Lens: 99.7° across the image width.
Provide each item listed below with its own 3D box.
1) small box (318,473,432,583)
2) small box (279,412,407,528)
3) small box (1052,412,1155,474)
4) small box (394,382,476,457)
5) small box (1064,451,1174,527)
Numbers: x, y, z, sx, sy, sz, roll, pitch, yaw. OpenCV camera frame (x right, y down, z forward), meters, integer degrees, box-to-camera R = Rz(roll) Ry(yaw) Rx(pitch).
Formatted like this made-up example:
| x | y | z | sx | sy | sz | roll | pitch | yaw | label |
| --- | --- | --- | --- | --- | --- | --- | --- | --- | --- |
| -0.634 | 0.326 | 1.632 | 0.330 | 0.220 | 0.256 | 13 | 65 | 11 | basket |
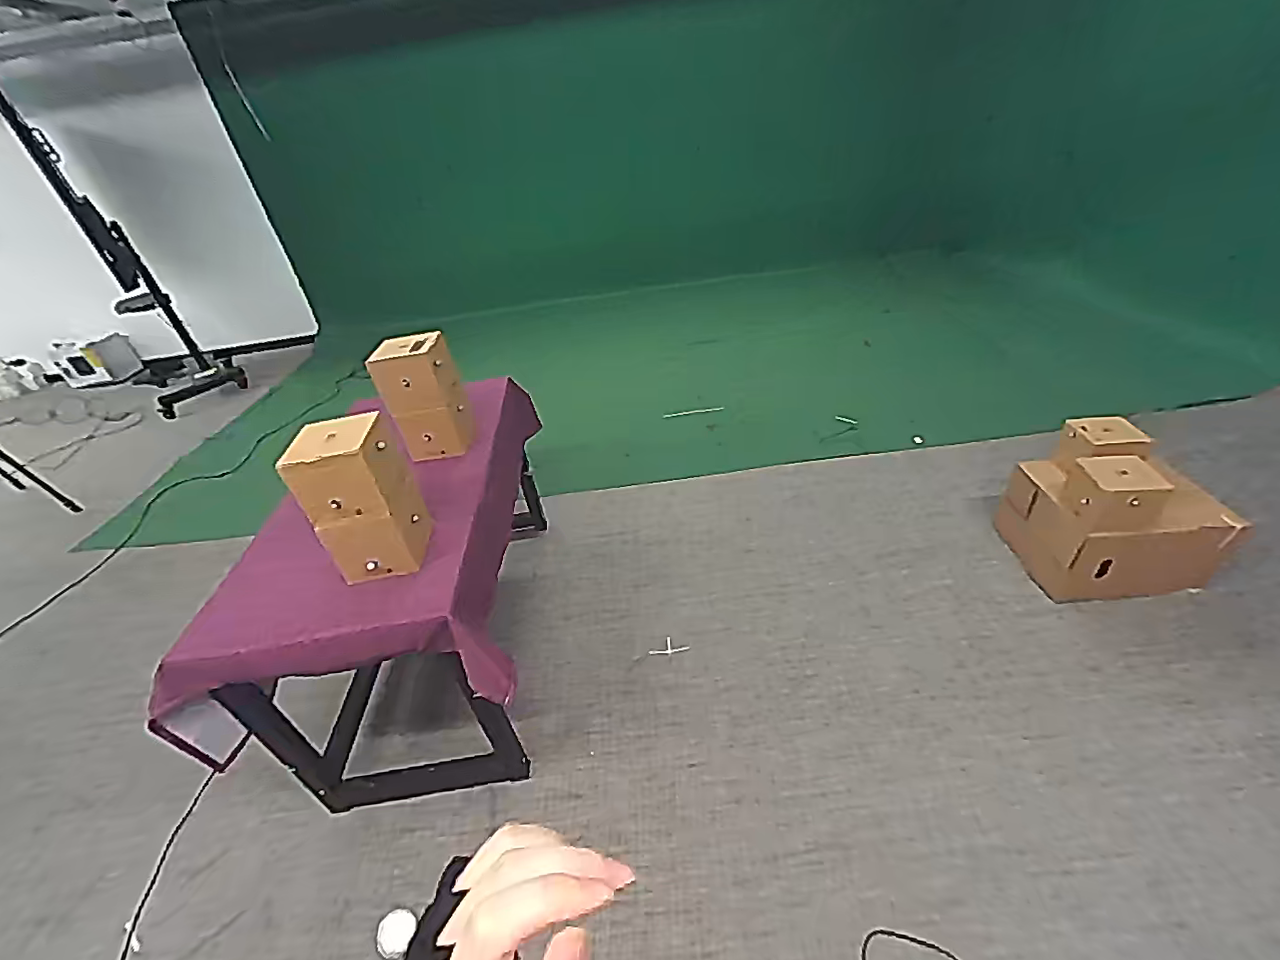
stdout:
| x | y | z | sx | sy | sz | roll | pitch | yaw | label |
| --- | --- | --- | --- | --- | --- | --- | --- | --- | --- |
| -0.603 | 0.111 | 1.260 | 0.168 | 0.176 | 0.179 | -11 | 36 | -1 | small box |
| -0.627 | -0.023 | 1.171 | 0.168 | 0.176 | 0.179 | -12 | 36 | -2 | small box |
| 1.528 | -0.110 | 1.796 | 0.179 | 0.176 | 0.168 | -2 | 35 | 7 | small box |
| -0.625 | -0.181 | 1.674 | 0.168 | 0.176 | 0.179 | -7 | 35 | 3 | small box |
| 1.418 | 0.029 | 1.622 | 0.179 | 0.176 | 0.168 | -2 | 37 | 8 | small box |
